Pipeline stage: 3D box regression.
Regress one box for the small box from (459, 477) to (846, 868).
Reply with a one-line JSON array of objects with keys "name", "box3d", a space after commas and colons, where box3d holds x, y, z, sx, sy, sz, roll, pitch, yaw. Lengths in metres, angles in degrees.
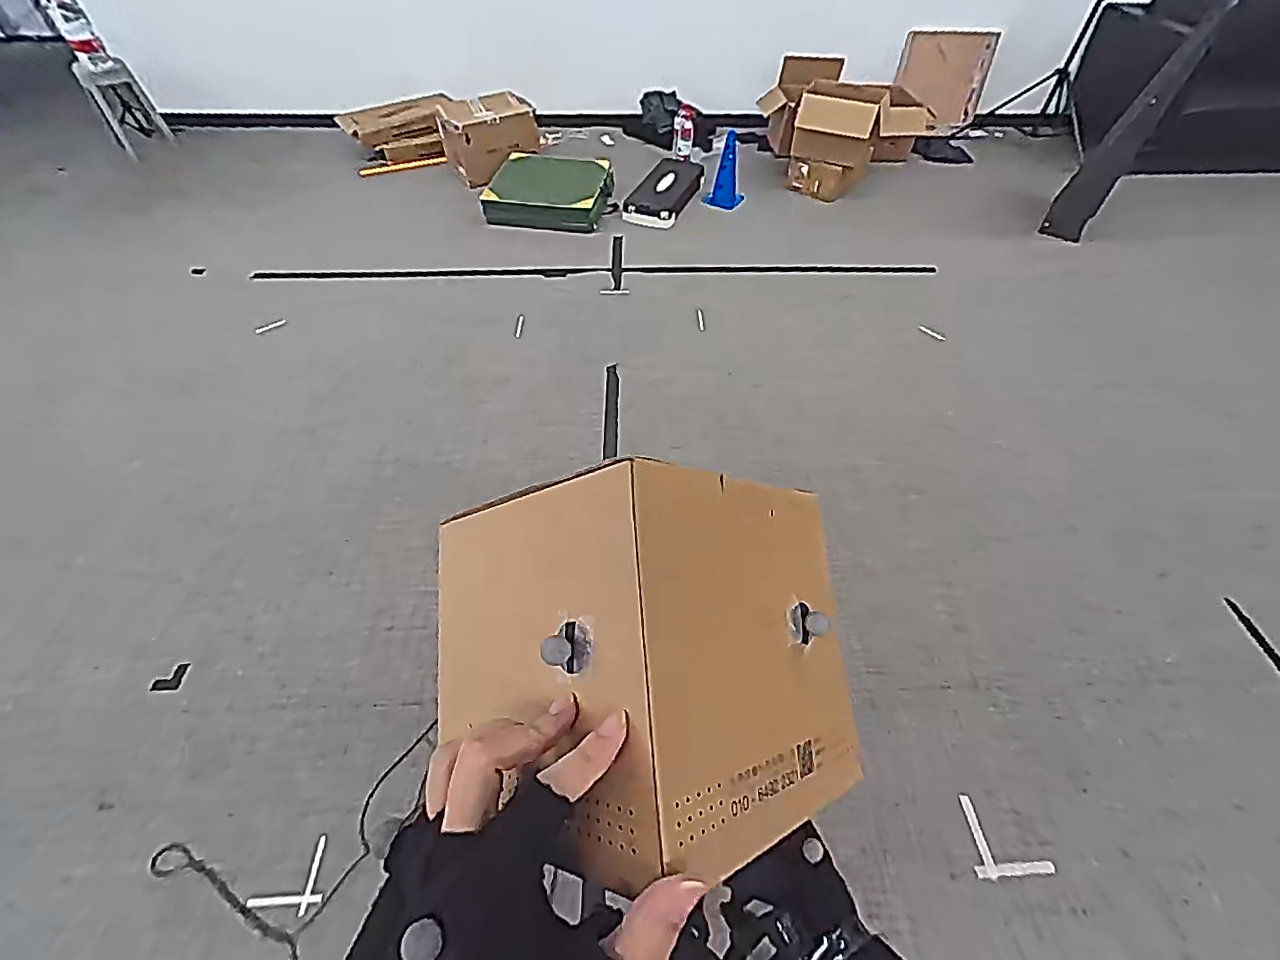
[{"name": "small box", "box3d": [0.004, 0.104, 0.334, 0.168, 0.179, 0.176, 9, 71, -43]}]
